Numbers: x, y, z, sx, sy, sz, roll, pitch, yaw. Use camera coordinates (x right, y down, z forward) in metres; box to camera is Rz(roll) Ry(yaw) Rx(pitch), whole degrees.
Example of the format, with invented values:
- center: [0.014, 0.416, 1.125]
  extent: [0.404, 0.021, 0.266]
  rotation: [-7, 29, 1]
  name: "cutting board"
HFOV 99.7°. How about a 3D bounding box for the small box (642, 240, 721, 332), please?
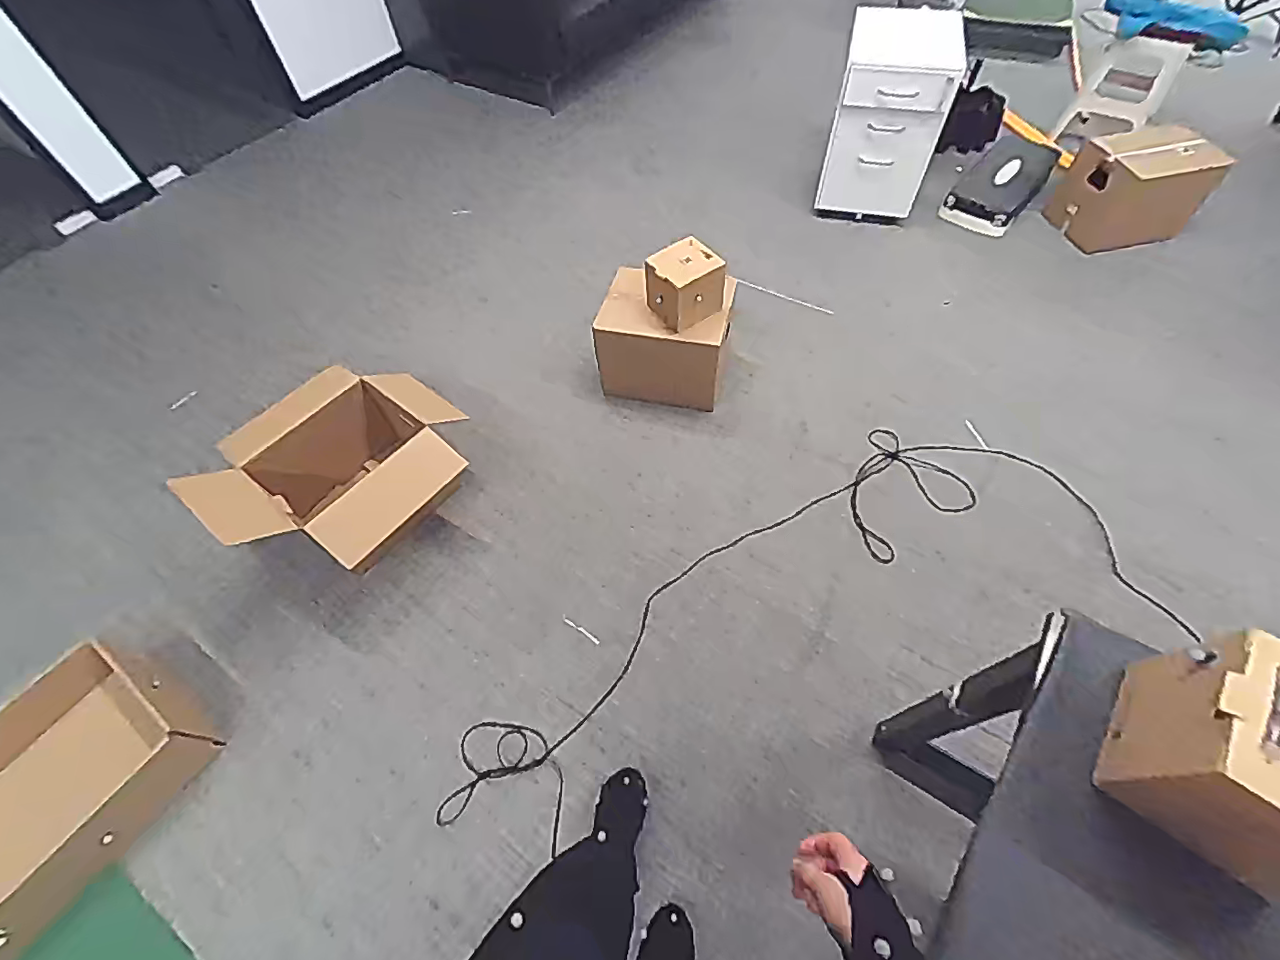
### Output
- center: [0.127, -0.580, 1.630]
  extent: [0.179, 0.176, 0.168]
  rotation: [-32, 62, -15]
  name: "small box"
